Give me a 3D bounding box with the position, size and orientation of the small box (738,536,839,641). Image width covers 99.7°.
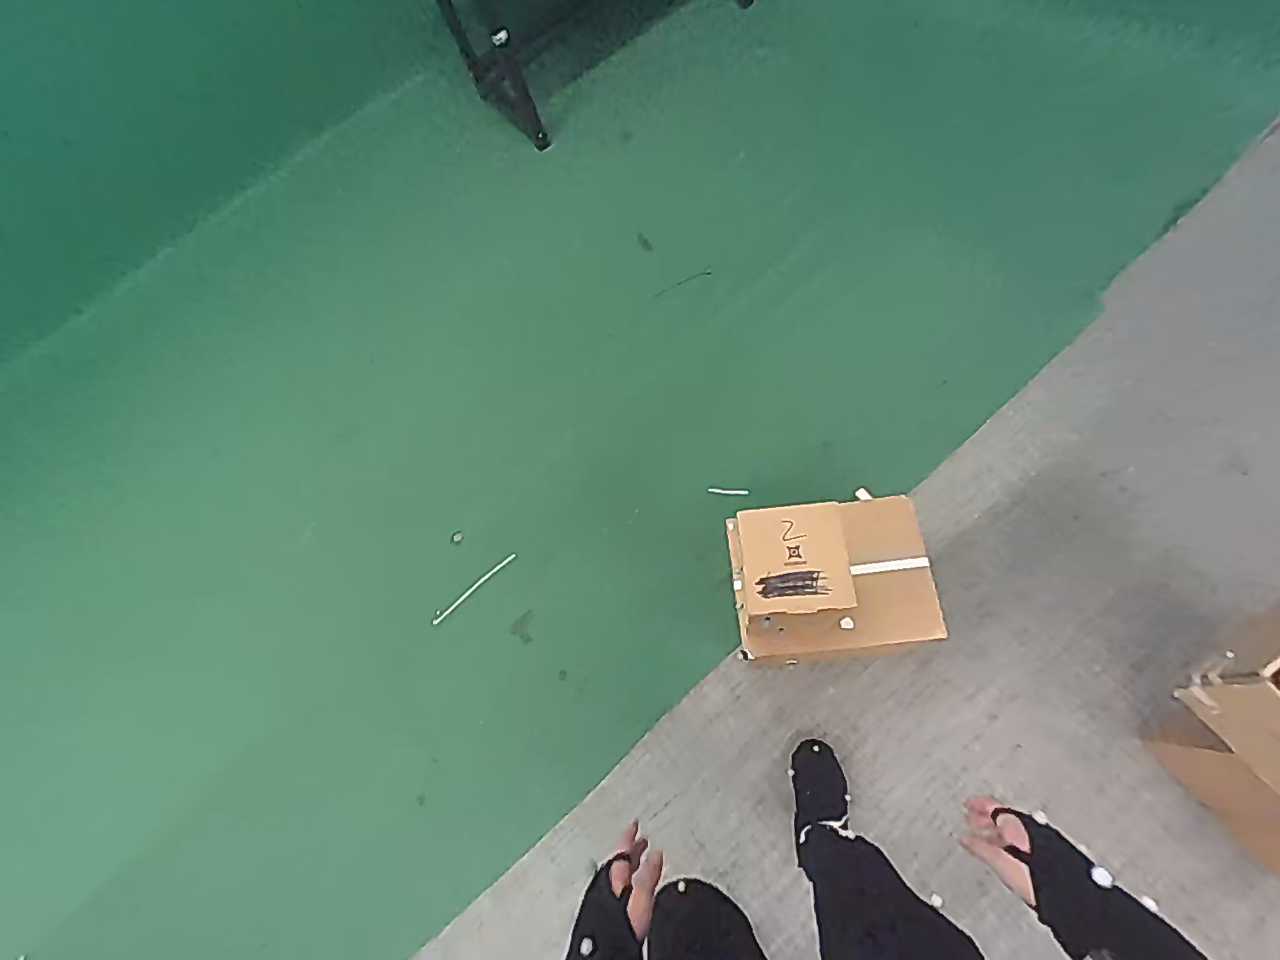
[{"bbox_3d":[0.288,0.222,1.084,0.168,0.176,0.179,-6,68,8],"label":"small box"}]
